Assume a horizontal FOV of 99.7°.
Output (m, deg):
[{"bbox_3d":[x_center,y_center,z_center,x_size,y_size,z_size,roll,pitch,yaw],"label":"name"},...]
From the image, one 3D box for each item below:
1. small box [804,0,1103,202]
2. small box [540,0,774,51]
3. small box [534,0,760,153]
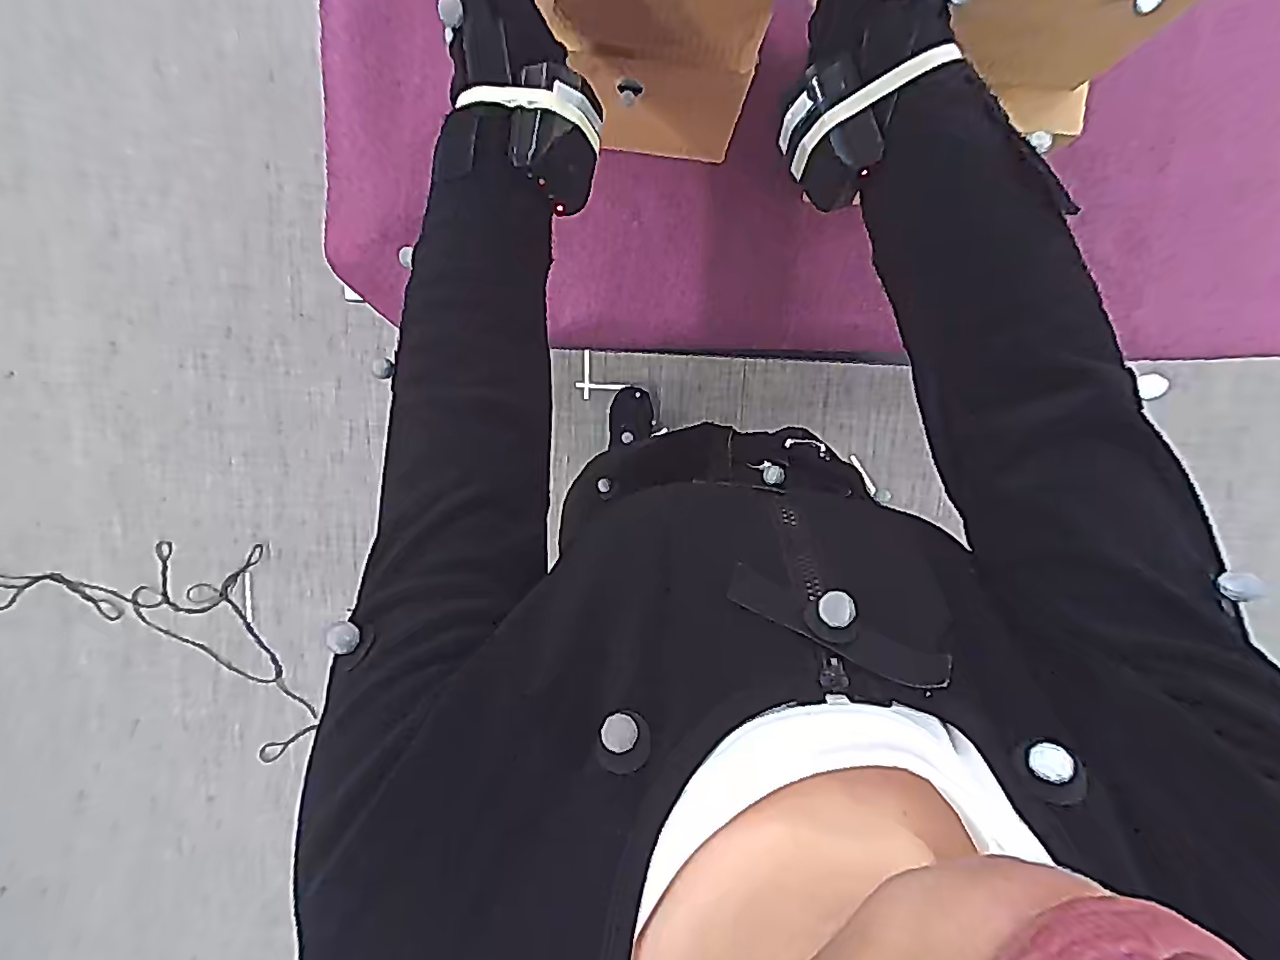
[{"bbox_3d":[0.268,-0.372,0.494,0.179,0.176,0.168,3,97,0],"label":"small box"},{"bbox_3d":[0.022,-0.405,0.325,0.179,0.176,0.168,10,99,-1],"label":"small box"},{"bbox_3d":[0.014,-0.424,0.486,0.179,0.176,0.168,7,98,-2],"label":"small box"}]
